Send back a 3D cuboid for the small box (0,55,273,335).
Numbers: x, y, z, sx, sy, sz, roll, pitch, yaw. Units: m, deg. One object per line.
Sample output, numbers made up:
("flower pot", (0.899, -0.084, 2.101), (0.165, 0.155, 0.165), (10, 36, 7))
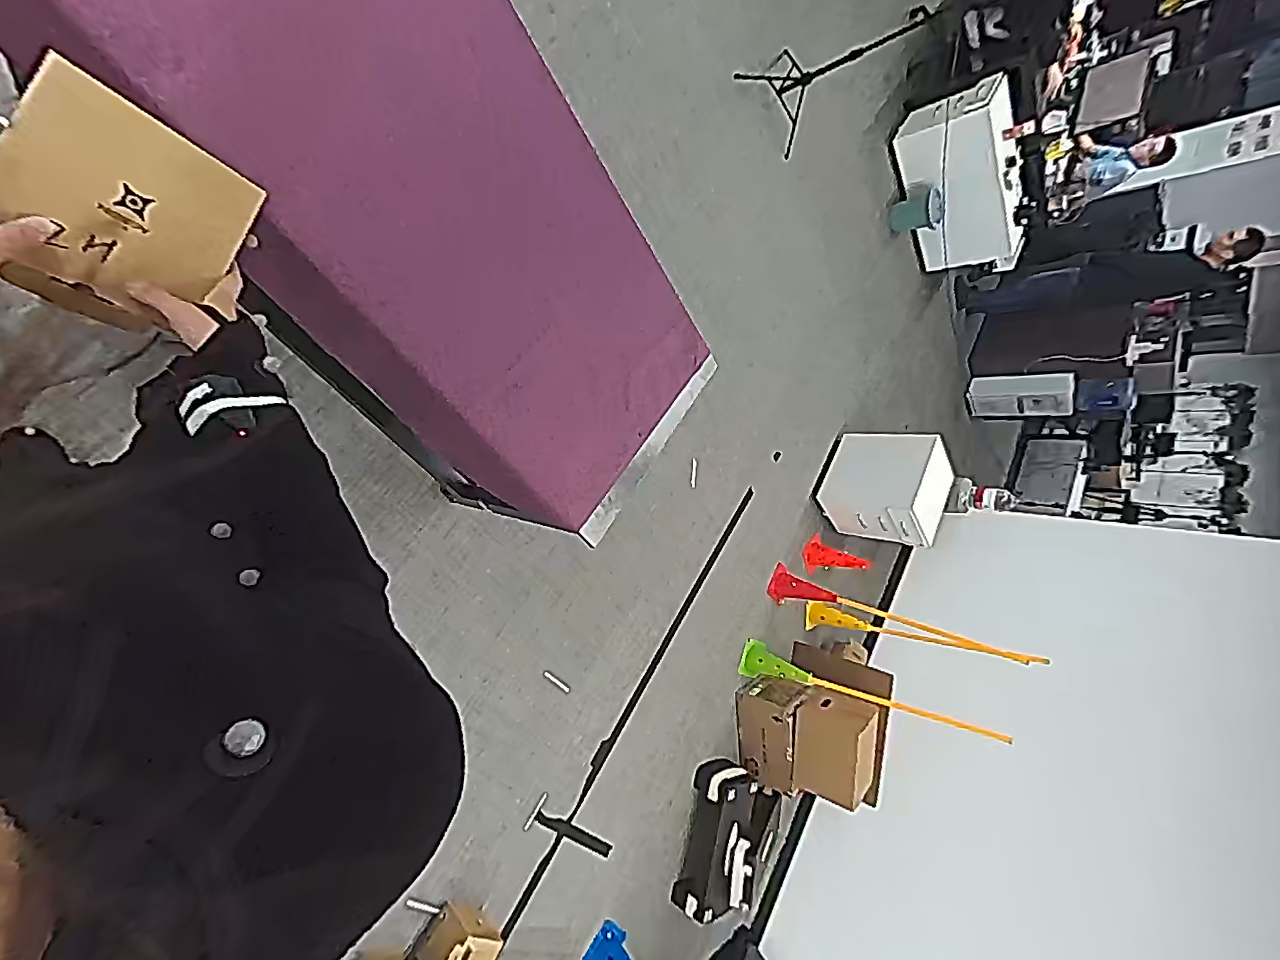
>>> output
("small box", (-0.524, -0.270, 0.553), (0.168, 0.176, 0.179), (30, 80, -48))
